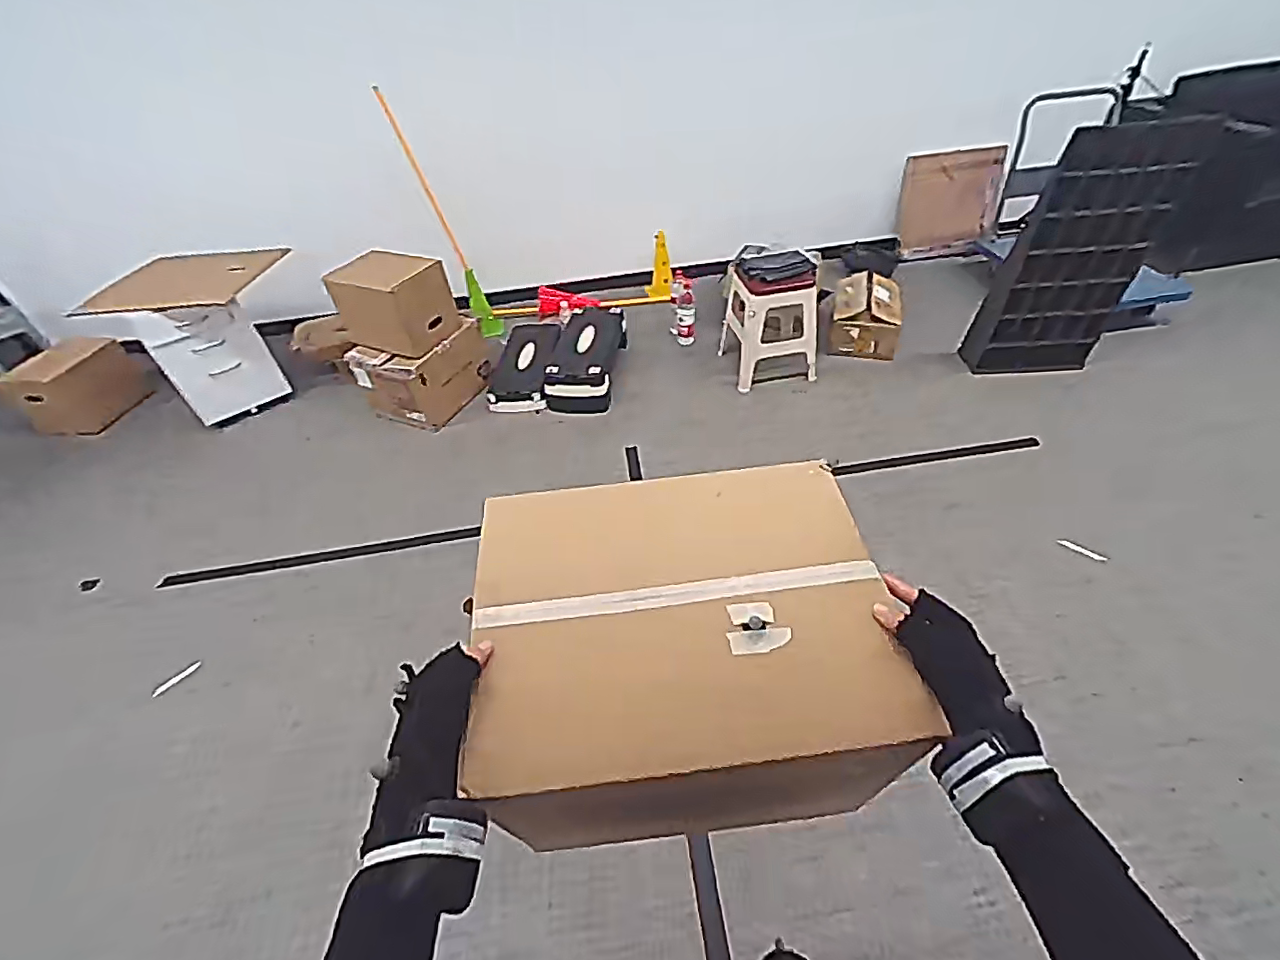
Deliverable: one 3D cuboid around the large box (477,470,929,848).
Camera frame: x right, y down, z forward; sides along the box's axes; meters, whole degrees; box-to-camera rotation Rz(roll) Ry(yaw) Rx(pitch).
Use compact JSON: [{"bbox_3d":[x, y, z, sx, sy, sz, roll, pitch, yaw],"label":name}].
[{"bbox_3d":[0.046,0.223,0.668,0.408,0.320,0.320,-6,49,-2],"label":"large box"}]
